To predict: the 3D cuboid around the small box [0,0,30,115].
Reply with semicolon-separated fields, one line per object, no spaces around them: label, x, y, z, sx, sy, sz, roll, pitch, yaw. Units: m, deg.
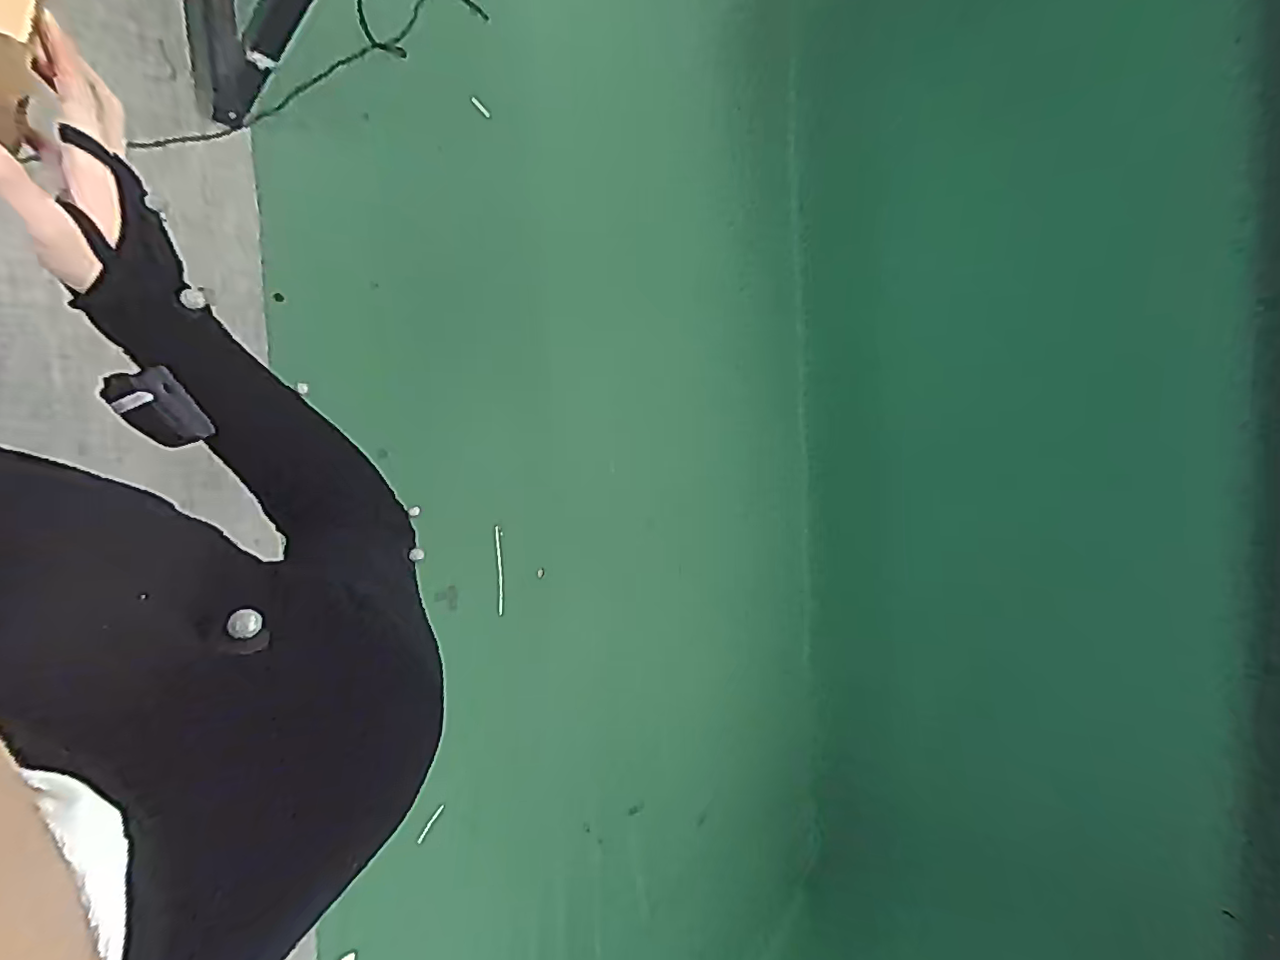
small box;-0.430;-0.332;0.272;0.168;0.176;0.179;11;81;-50
